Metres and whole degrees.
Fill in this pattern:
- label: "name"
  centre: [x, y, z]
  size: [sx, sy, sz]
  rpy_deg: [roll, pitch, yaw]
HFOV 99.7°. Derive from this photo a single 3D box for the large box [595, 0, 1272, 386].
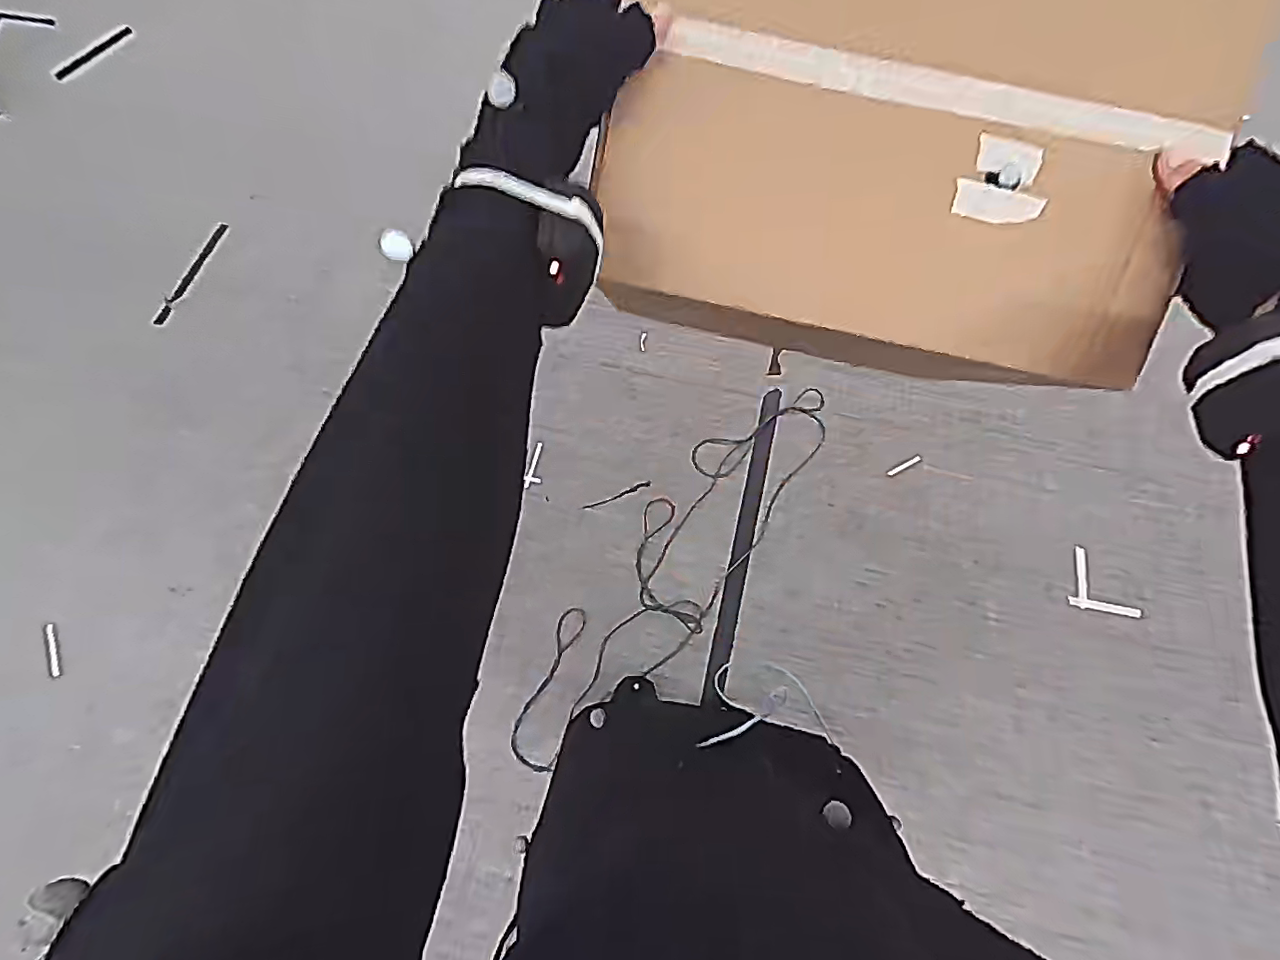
- label: "large box"
  centre: [0.193, -0.285, 0.511]
  size: [0.408, 0.320, 0.320]
  rpy_deg: [12, 104, 0]
